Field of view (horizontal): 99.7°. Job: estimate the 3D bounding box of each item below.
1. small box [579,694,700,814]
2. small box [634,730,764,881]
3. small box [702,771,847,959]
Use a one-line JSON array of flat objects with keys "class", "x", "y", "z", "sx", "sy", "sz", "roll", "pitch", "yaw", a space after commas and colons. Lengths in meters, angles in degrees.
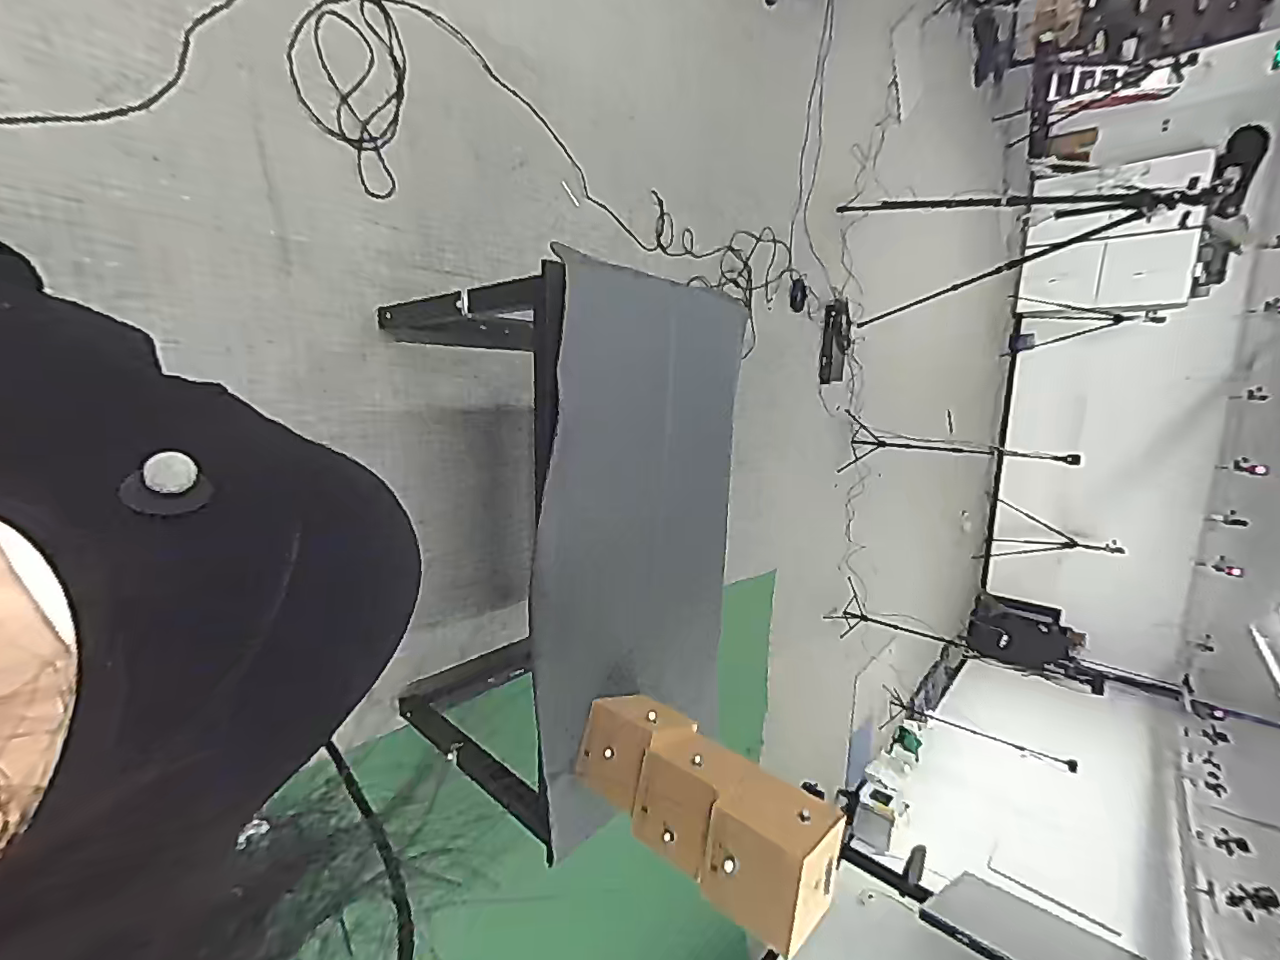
[{"class": "small box", "x": -0.003, "y": 0.568, "z": 1.146, "sx": 0.179, "sy": 0.176, "sz": 0.168, "roll": 22, "pitch": 81, "yaw": -50}, {"class": "small box", "x": 0.111, "y": 0.608, "z": 1.037, "sx": 0.179, "sy": 0.176, "sz": 0.168, "roll": 14, "pitch": 88, "yaw": -51}, {"class": "small box", "x": 0.230, "y": 0.638, "z": 0.927, "sx": 0.179, "sy": 0.176, "sz": 0.168, "roll": 4, "pitch": 94, "yaw": -49}]
